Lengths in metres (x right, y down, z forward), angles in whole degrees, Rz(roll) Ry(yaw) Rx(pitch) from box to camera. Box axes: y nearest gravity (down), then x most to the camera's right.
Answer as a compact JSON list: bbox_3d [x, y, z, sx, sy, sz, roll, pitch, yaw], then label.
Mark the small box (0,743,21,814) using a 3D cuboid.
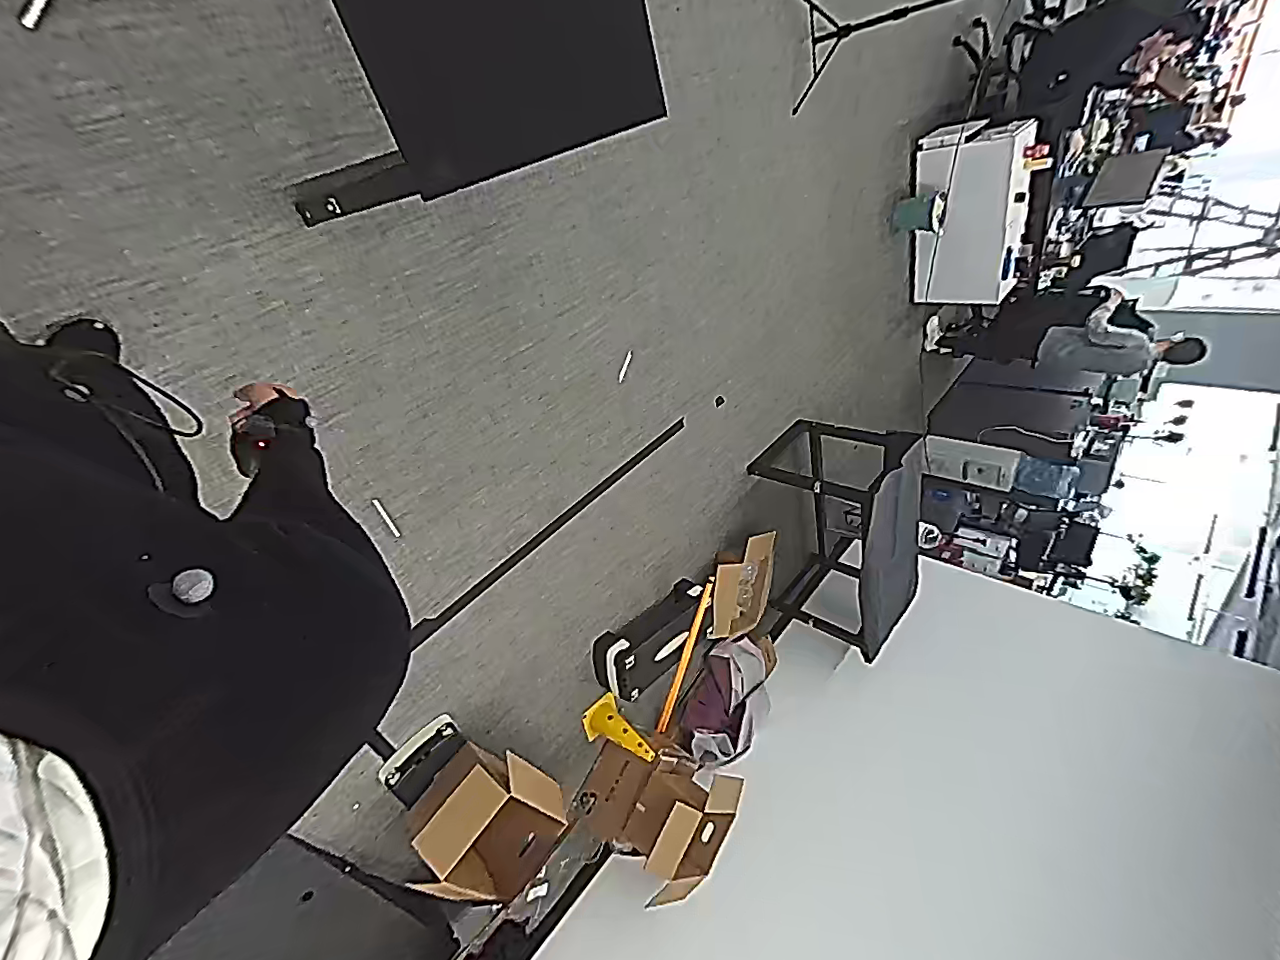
[{"bbox_3d":[-1.411,0.620,1.082,0.168,0.176,0.179,-42,130,-30],"label":"small box"}]
